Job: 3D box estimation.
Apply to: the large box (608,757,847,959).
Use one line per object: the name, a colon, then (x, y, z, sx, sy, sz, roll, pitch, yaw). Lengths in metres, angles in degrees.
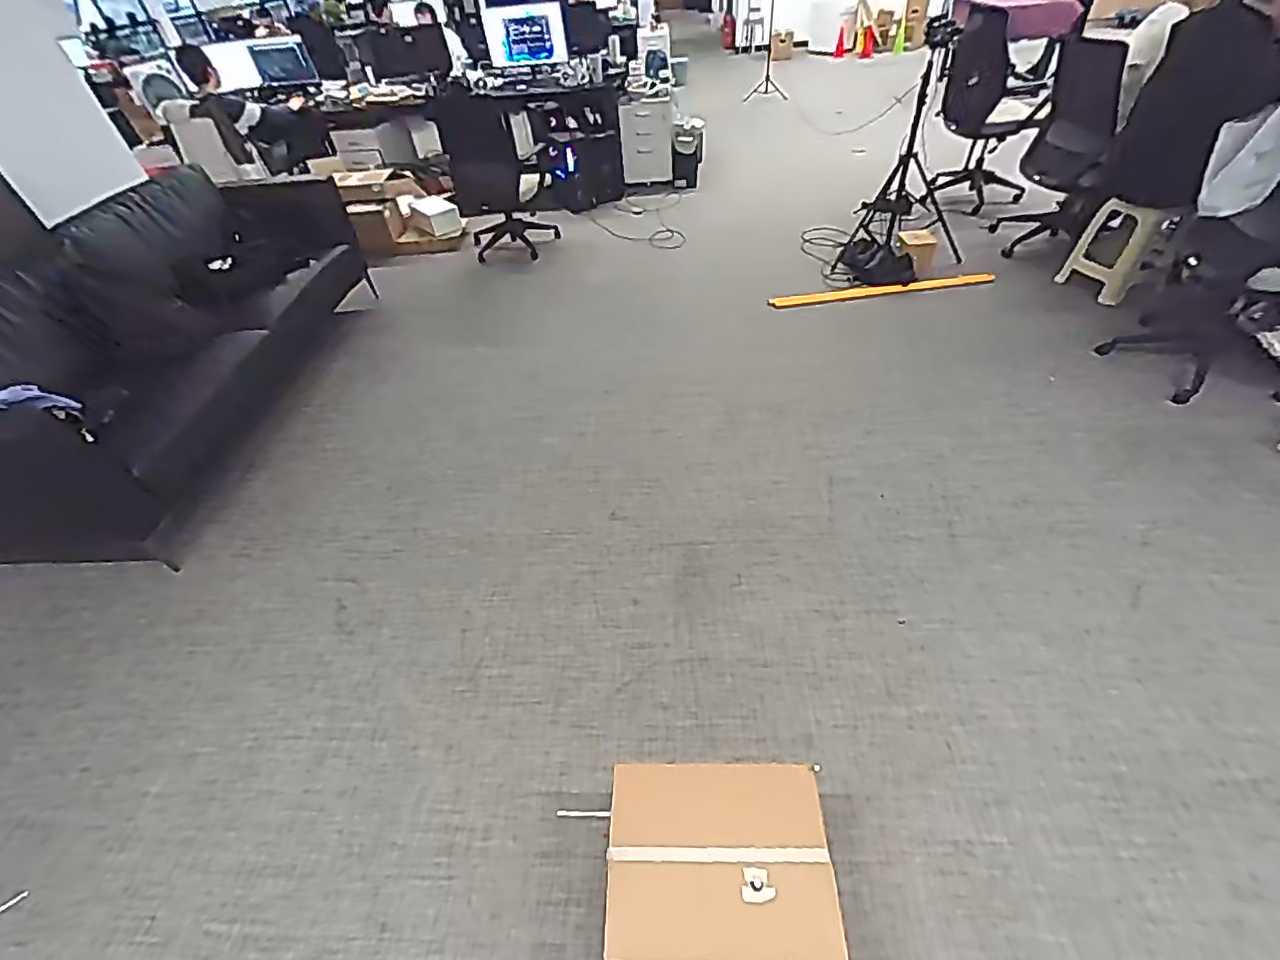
large box: (0.156, 0.785, 1.104, 0.408, 0.320, 0.320, -2, 45, 5)
